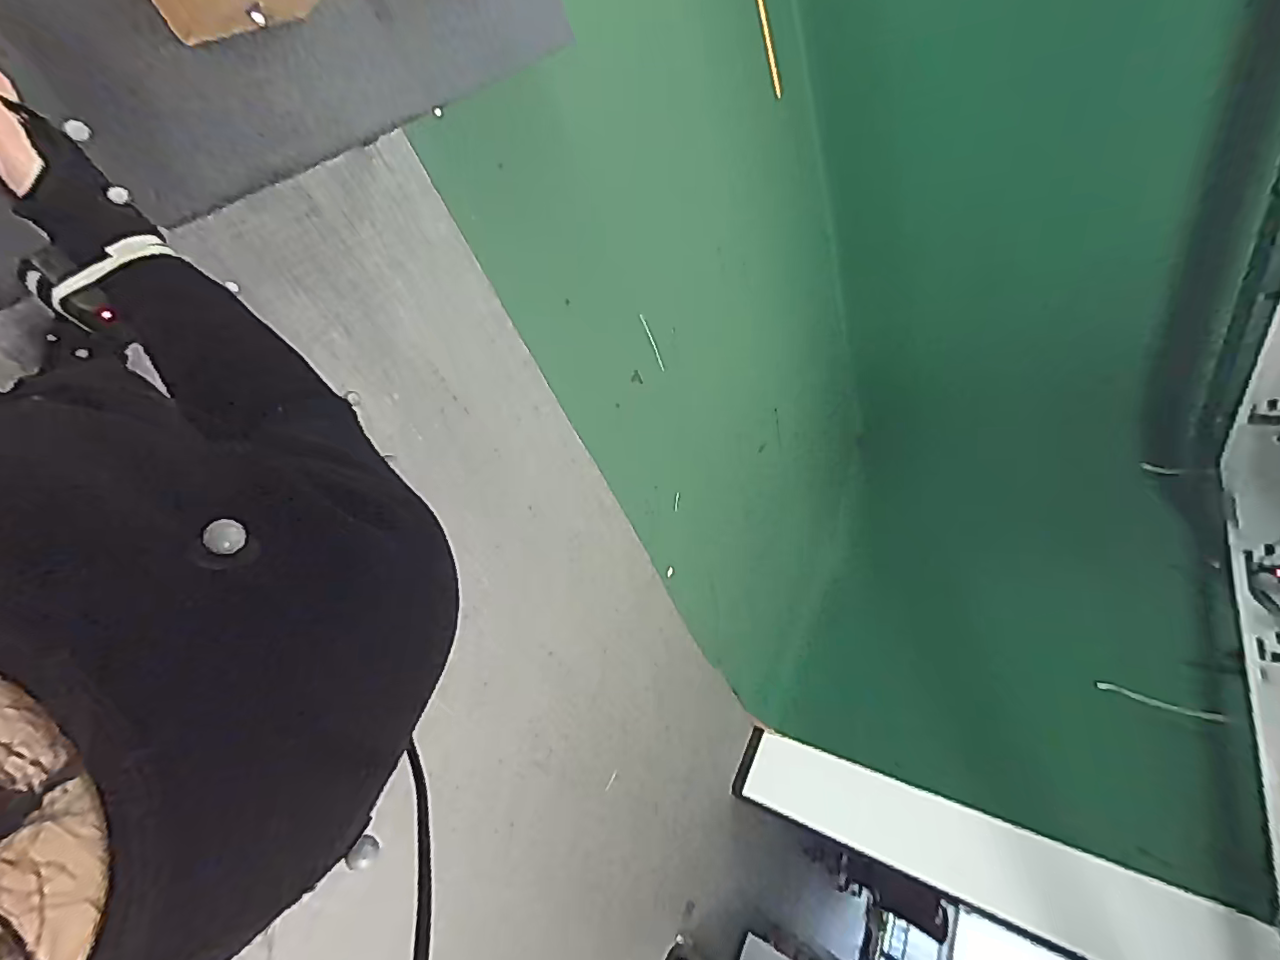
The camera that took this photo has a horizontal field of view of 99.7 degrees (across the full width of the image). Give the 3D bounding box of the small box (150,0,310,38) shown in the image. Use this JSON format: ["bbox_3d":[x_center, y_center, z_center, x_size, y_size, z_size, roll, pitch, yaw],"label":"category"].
[{"bbox_3d":[-0.442,-0.600,0.548,0.168,0.176,0.179,-54,134,-34],"label":"small box"}]
